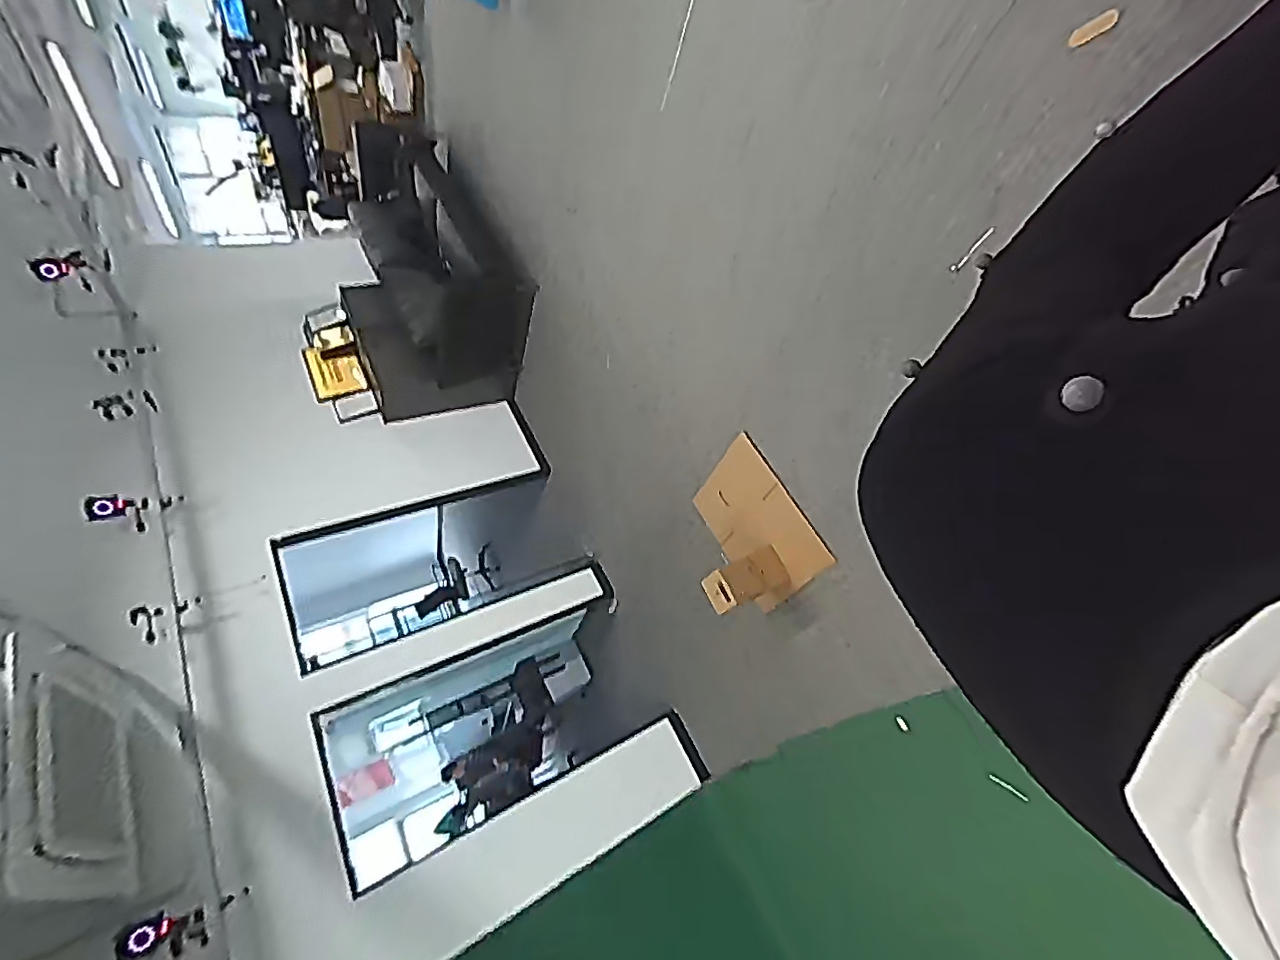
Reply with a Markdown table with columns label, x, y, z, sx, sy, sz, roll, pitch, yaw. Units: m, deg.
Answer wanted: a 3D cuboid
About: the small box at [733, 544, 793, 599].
| label | x | y | z | sx | sy | sz | roll | pitch | yaw |
| --- | --- | --- | --- | --- | --- | --- | --- | --- | --- |
| small box | 0.560 | 0.413 | 2.455 | 0.179 | 0.176 | 0.168 | 63 | 149 | 19 |
